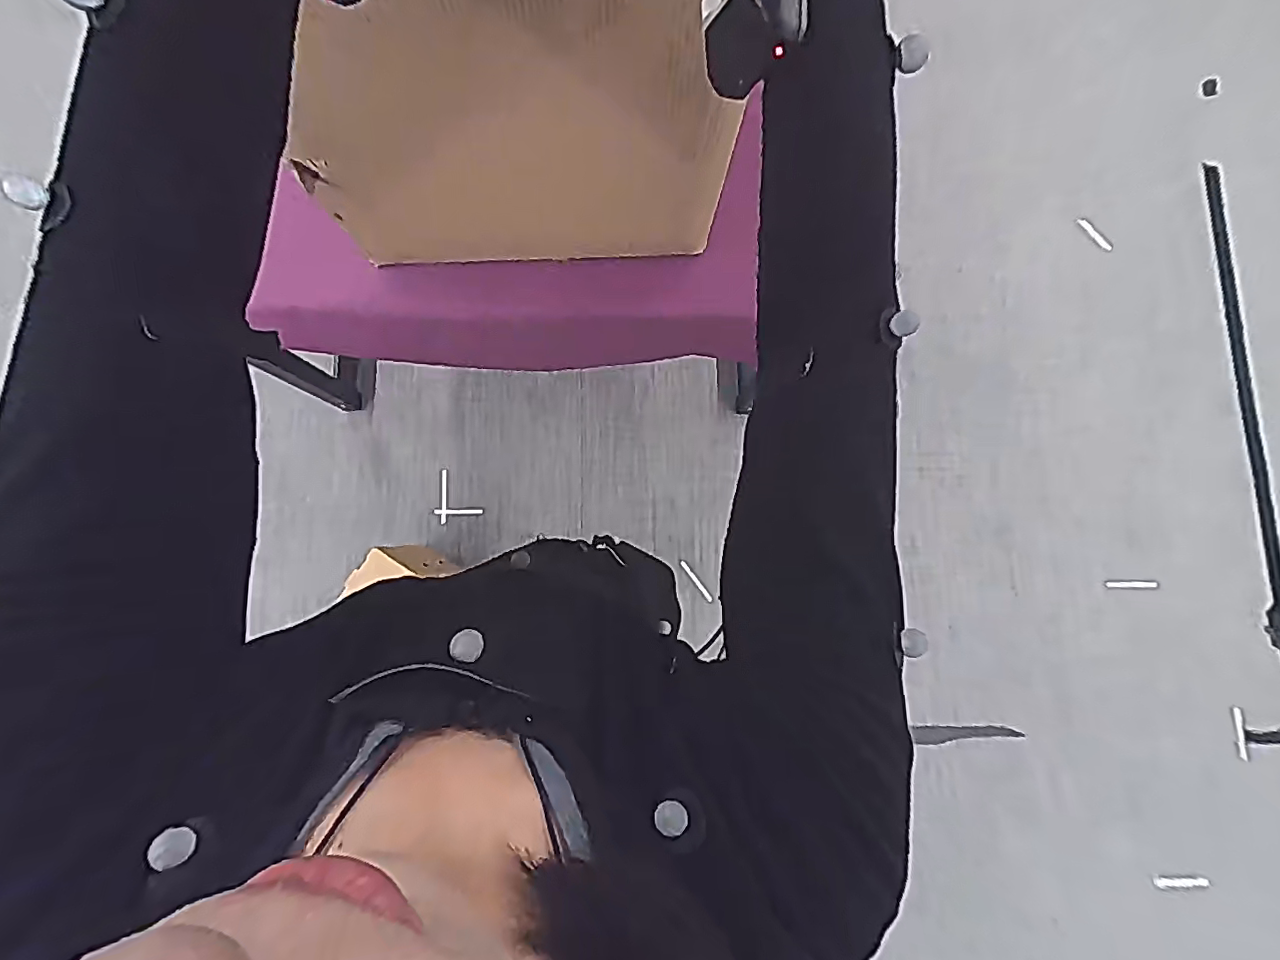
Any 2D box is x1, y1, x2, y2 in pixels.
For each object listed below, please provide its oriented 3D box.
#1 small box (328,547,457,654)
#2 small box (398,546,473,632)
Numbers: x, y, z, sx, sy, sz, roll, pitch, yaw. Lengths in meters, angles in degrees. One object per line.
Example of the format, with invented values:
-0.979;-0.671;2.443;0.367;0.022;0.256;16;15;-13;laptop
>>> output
-0.557;0.271;1.243;0.179;0.176;0.168;33;83;2;small box
-0.568;0.287;1.406;0.179;0.176;0.168;31;83;1;small box
